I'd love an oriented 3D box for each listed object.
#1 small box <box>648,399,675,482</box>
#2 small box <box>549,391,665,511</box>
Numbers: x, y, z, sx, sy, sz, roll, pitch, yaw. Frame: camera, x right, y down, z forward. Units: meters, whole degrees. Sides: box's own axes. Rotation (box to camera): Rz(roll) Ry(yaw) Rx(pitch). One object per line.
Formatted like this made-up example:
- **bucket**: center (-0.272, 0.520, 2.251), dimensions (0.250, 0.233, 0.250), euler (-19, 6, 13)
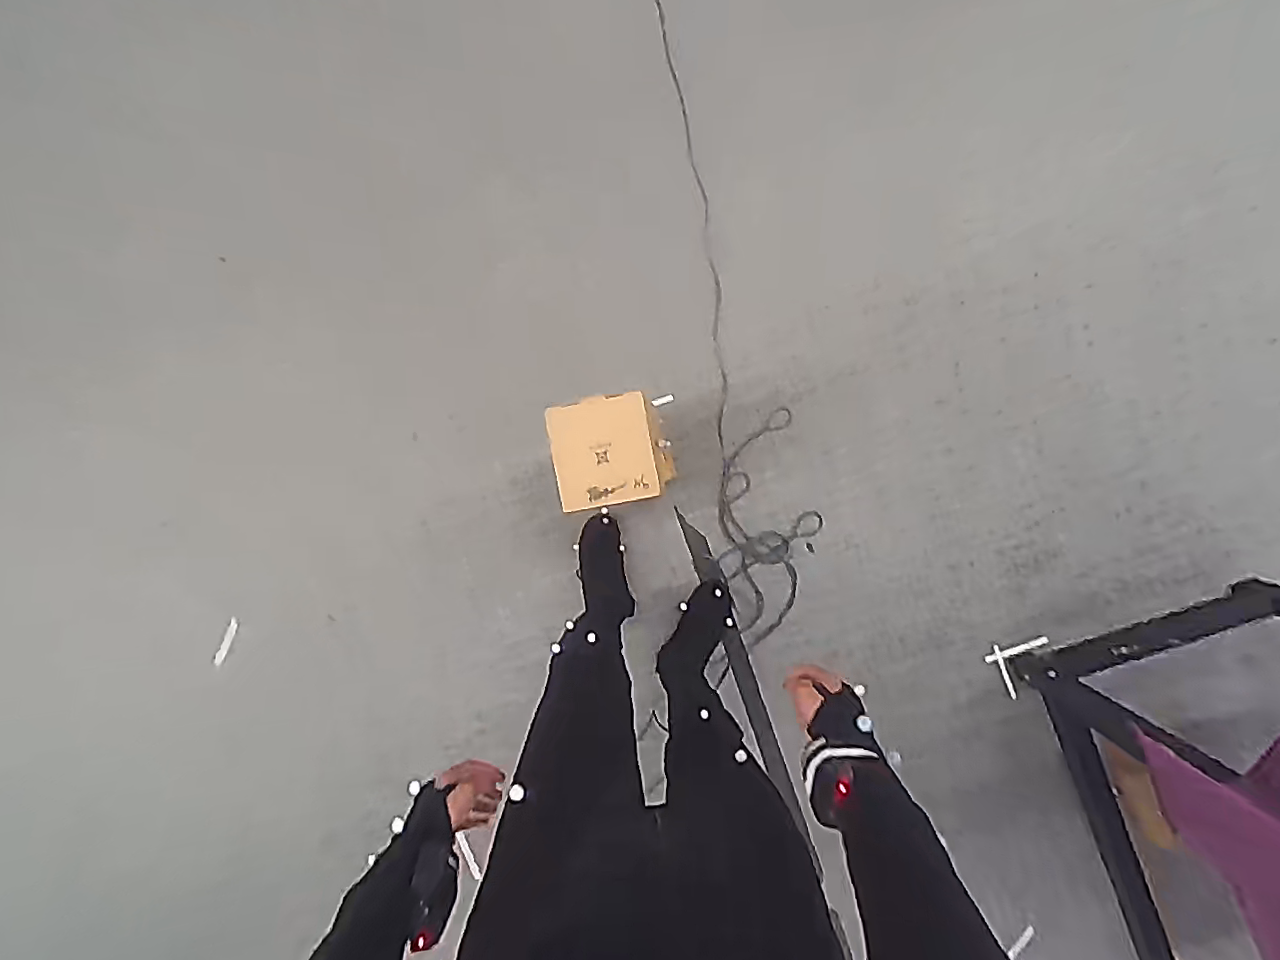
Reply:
- **small box**: center (-0.034, -0.057, 1.121), dimensions (0.179, 0.176, 0.168), euler (-18, 91, 6)
- **small box**: center (-0.050, -0.047, 0.957), dimensions (0.168, 0.176, 0.179), euler (-10, 91, 6)
